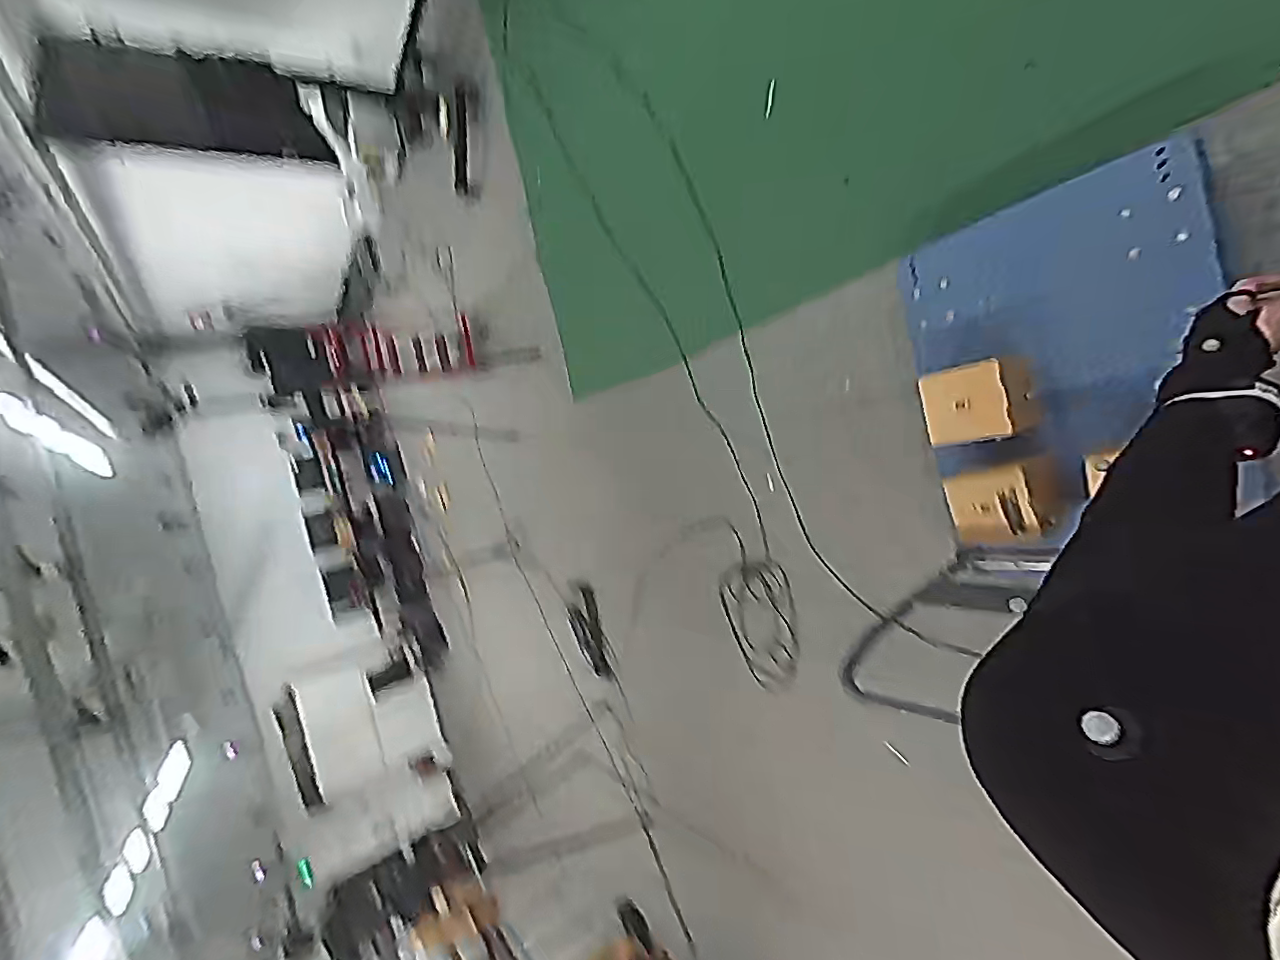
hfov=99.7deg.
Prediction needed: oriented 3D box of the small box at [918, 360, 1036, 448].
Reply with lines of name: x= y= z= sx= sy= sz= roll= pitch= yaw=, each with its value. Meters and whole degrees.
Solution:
small box: x=0.799 y=-0.180 z=1.283 sx=0.179 sy=0.176 sz=0.168 roll=-11 pitch=93 yaw=53
